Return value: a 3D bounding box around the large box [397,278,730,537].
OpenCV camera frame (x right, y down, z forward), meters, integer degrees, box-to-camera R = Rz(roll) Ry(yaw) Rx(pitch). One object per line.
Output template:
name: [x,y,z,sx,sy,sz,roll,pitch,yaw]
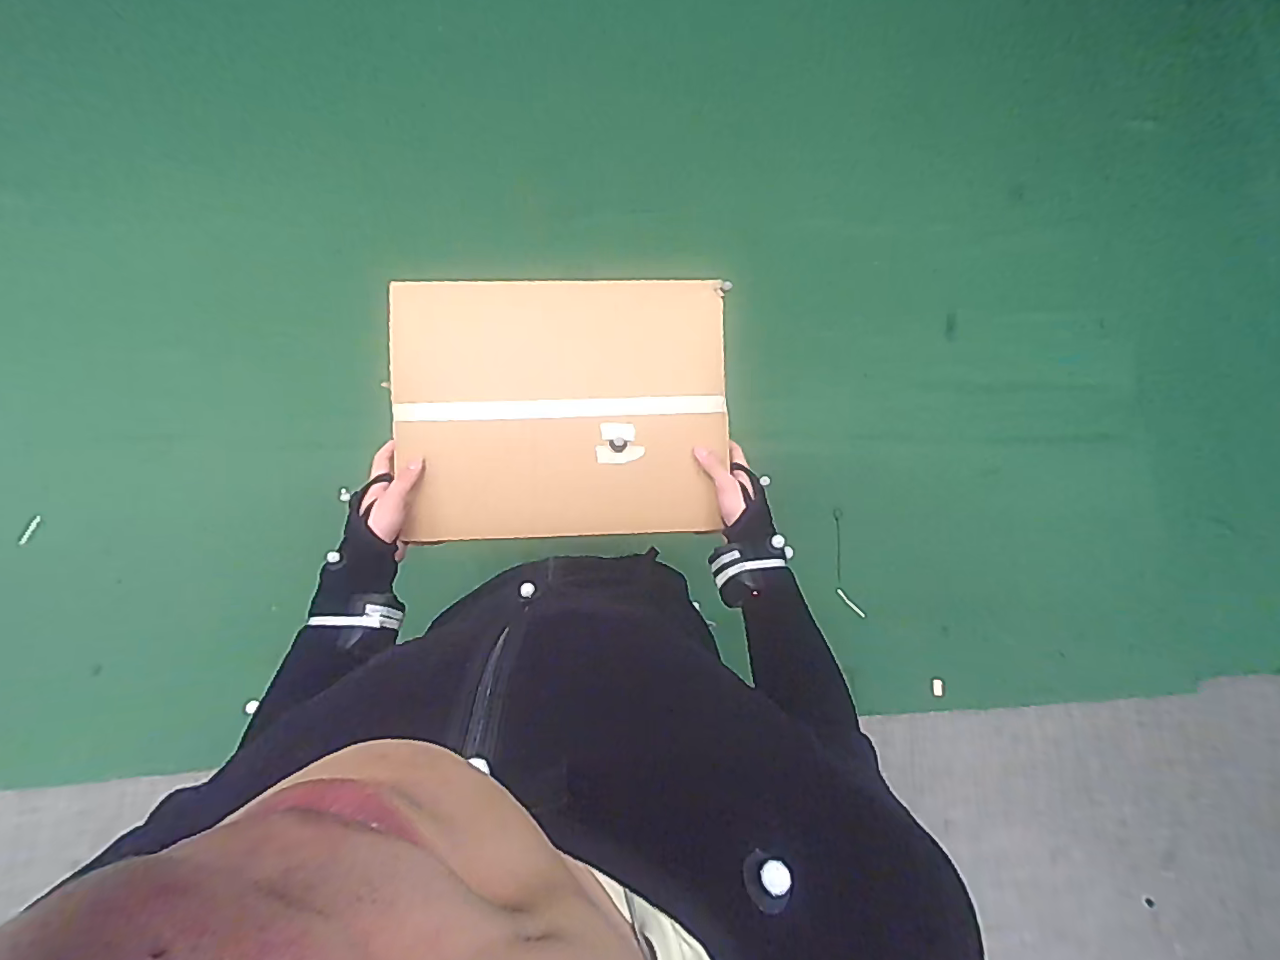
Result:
large box: [-0.104,-0.093,0.818,0.408,0.320,0.320,-2,91,-5]
